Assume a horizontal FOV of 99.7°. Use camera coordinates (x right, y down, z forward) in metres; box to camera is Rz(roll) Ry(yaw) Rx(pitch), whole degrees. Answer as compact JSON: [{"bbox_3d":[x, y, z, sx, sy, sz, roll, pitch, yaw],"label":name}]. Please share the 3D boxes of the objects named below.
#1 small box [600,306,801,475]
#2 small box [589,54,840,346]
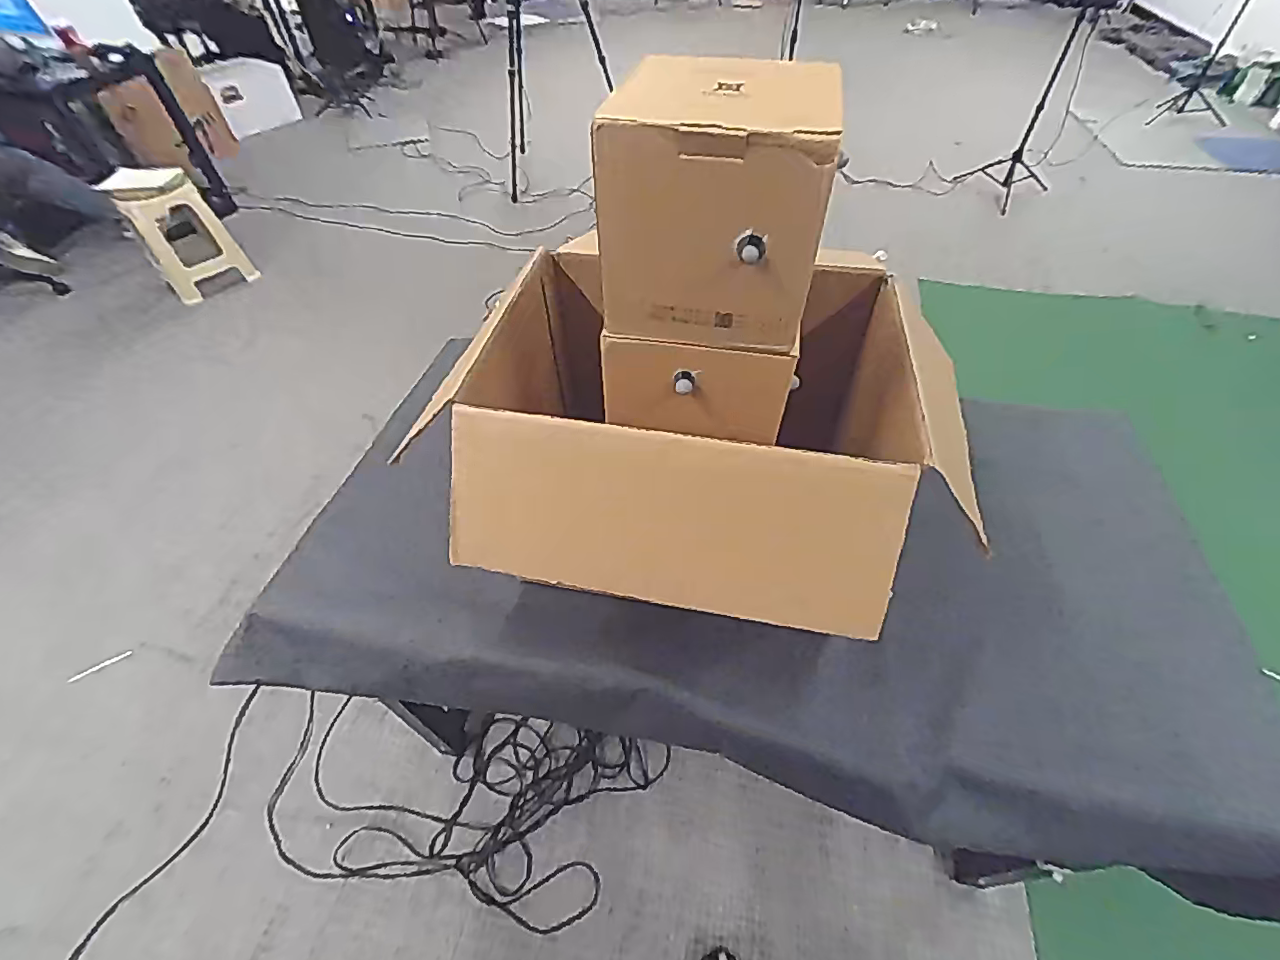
[{"bbox_3d":[0.065,-0.124,0.577,0.179,0.176,0.168,8,50,8],"label":"small box"},{"bbox_3d":[0.064,-0.235,0.459,0.168,0.176,0.179,10,49,8],"label":"small box"}]
